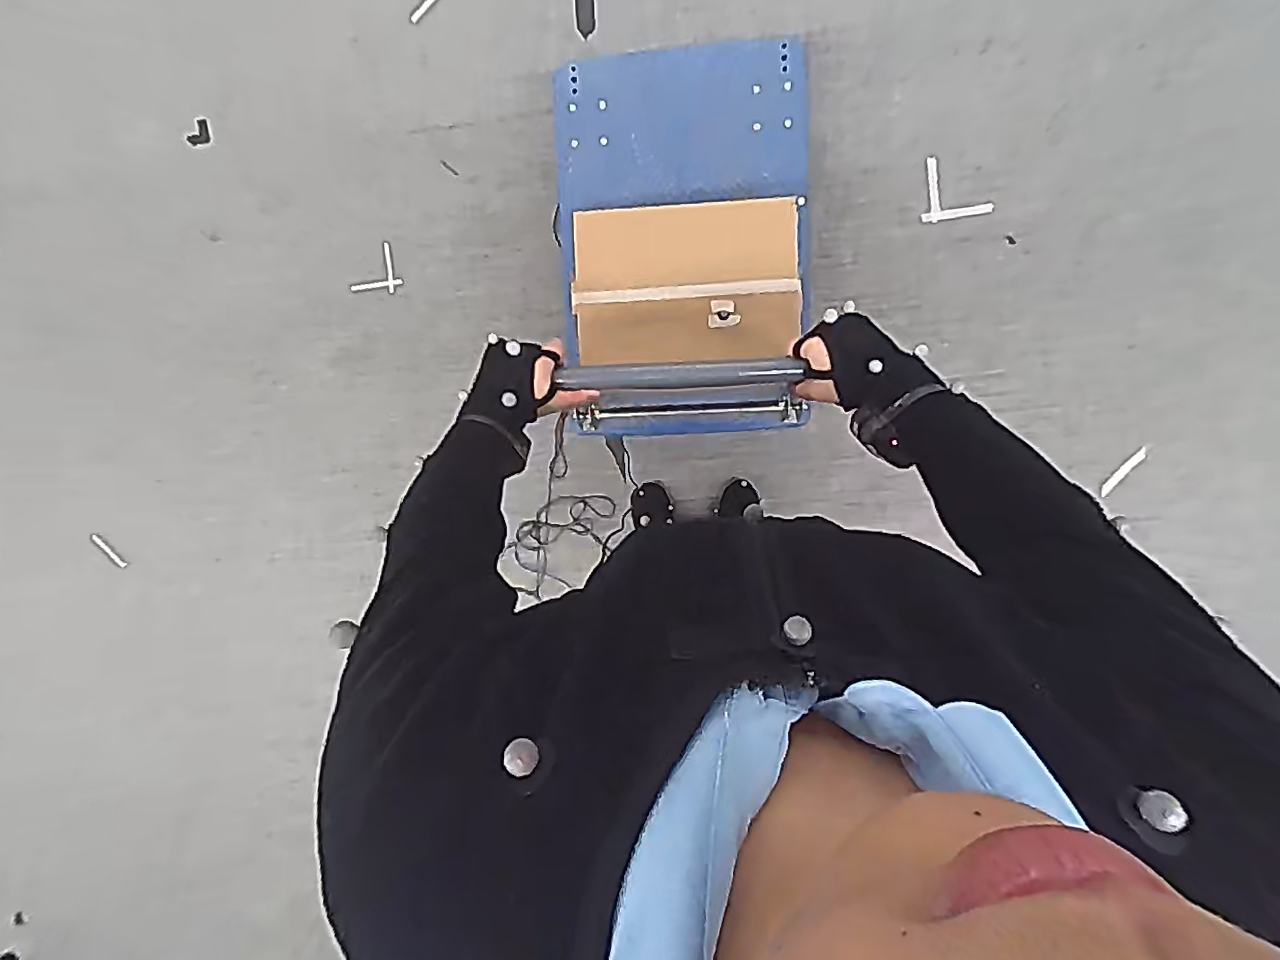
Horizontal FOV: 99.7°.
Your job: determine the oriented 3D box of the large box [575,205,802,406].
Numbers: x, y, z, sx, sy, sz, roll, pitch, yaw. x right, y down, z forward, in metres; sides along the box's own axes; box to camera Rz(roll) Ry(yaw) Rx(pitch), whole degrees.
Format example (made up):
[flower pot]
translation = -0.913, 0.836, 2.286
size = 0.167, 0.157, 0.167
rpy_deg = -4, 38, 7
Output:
[large box]
translation = 0.094, -0.331, 1.118
size = 0.408, 0.320, 0.320
rpy_deg = -2, 93, 4
